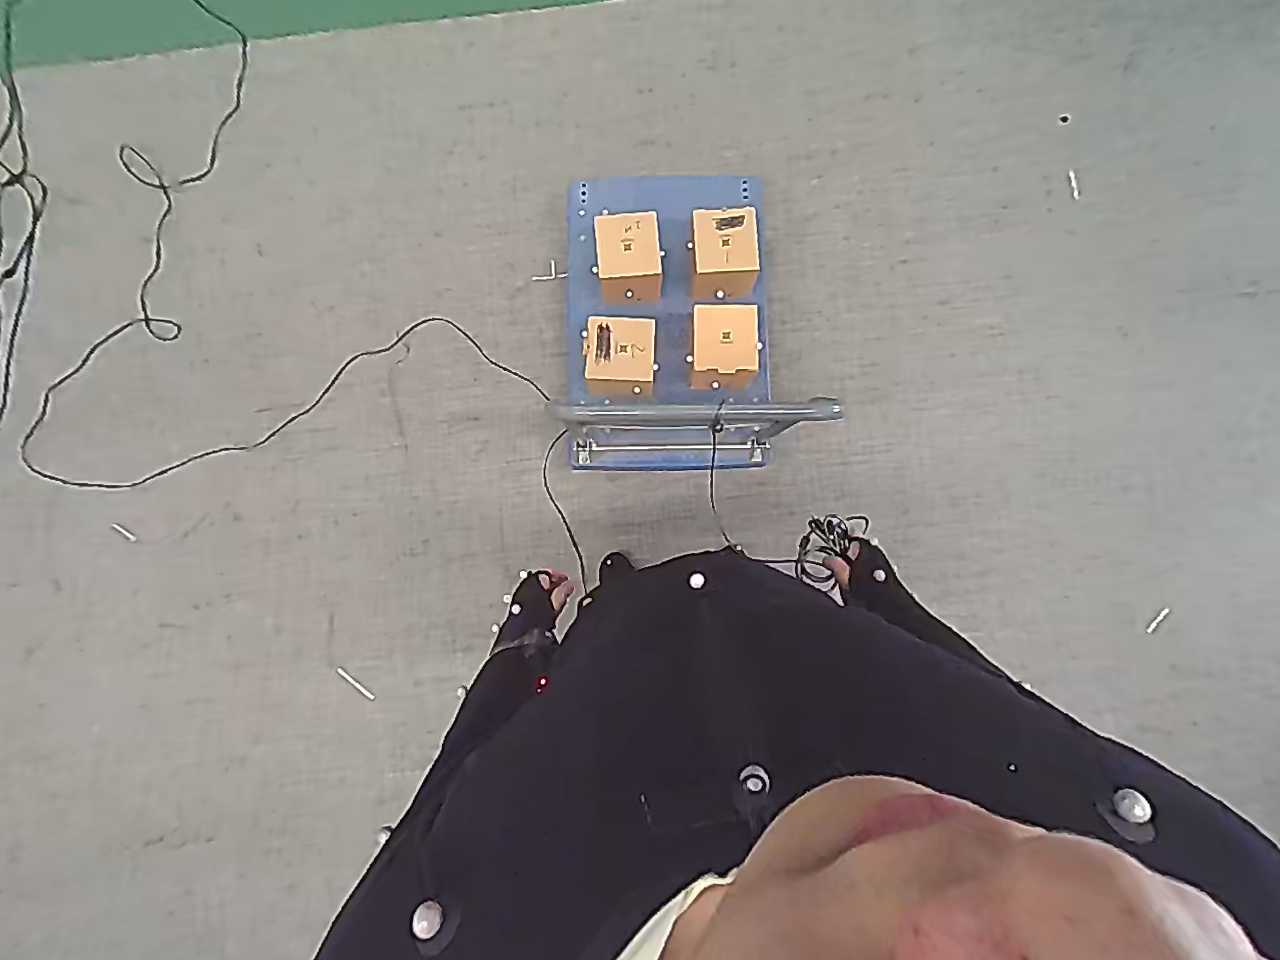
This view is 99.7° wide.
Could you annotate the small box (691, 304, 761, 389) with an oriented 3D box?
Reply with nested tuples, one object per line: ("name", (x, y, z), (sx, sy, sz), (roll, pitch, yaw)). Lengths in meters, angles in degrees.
("small box", (0.225, -0.355, 1.452), (0.168, 0.176, 0.179), (0, 84, 1))

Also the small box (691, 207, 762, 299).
("small box", (0.231, -0.616, 1.480), (0.168, 0.176, 0.179), (-3, 84, 1))

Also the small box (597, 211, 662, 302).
("small box", (-0.026, -0.603, 1.482), (0.168, 0.176, 0.179), (-4, 83, -1))
